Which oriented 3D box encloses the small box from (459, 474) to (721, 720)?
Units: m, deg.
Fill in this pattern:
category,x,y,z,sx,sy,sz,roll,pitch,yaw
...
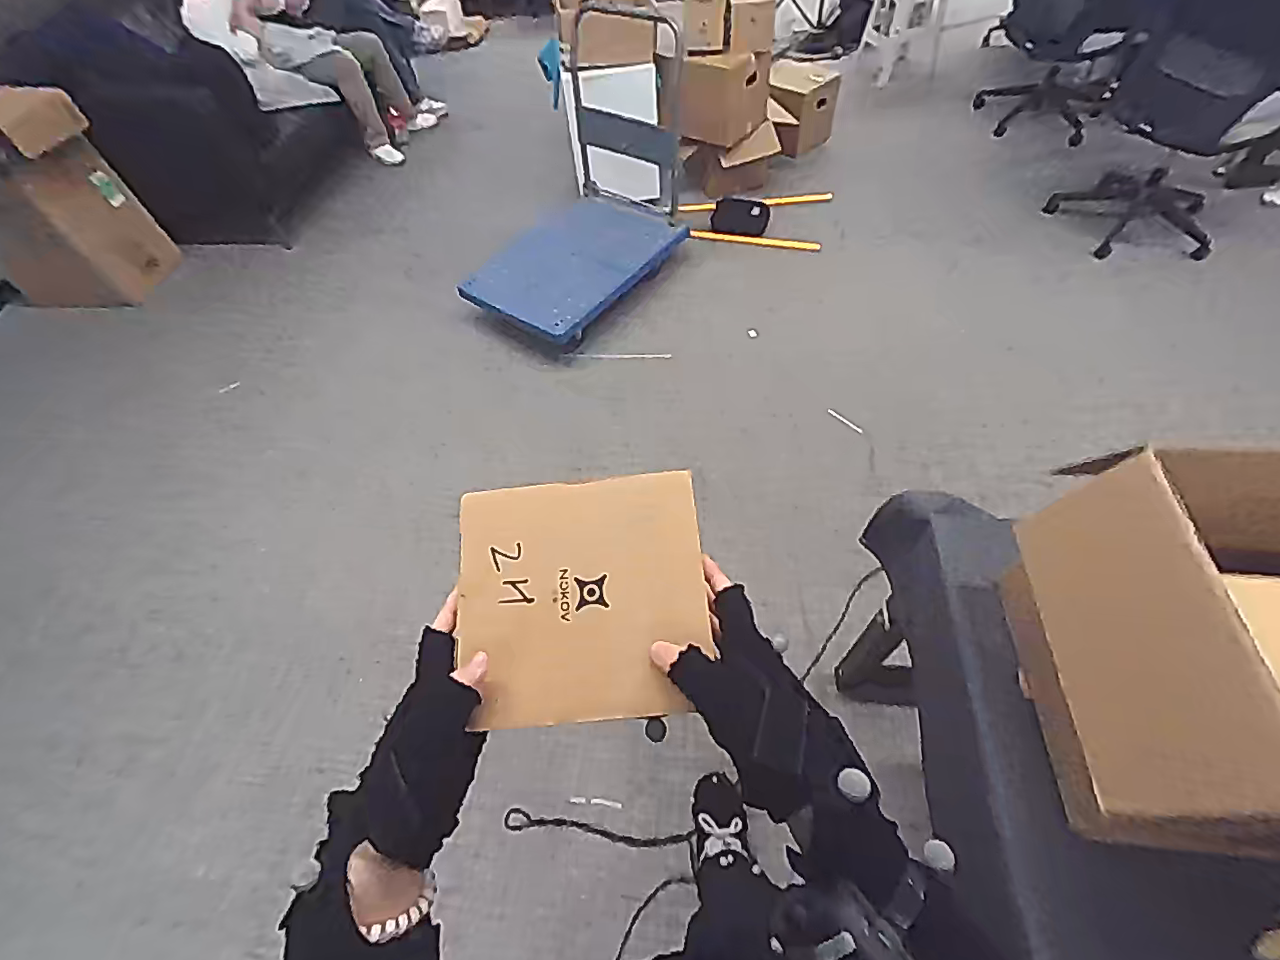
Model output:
category,x,y,z,sx,sy,sz,roll,pitch,yaw
small box,-0.034,0.105,0.457,0.179,0.176,0.168,-5,68,2
